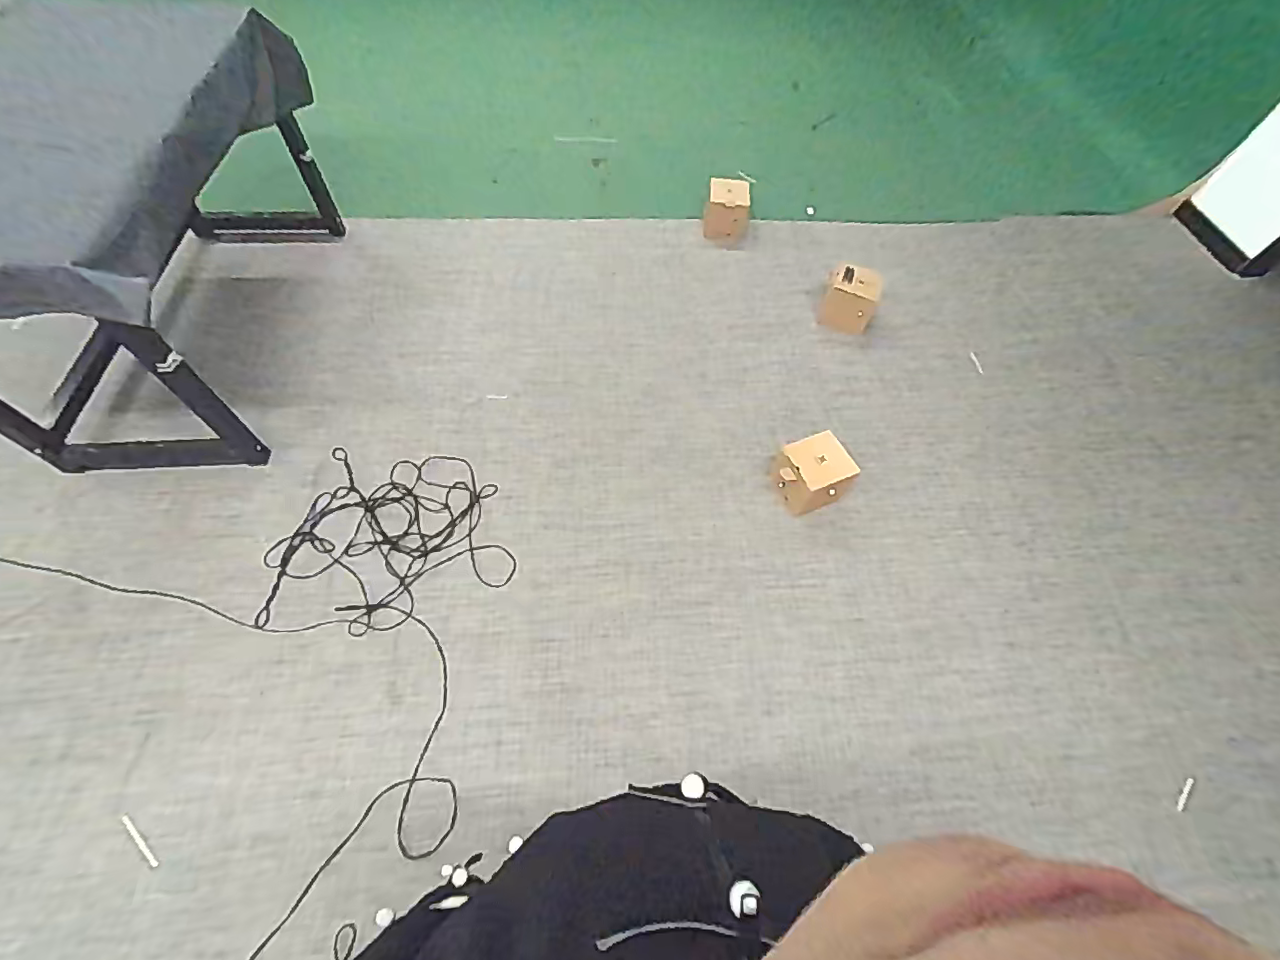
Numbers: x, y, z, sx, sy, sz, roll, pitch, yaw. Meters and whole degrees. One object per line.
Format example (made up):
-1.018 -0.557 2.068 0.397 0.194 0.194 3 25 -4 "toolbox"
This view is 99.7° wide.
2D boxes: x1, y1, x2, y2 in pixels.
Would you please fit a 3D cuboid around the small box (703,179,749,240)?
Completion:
0.368 -1.158 2.322 0.168 0.176 0.179 5 58 -2 "small box"

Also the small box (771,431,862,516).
0.527 -0.017 1.641 0.179 0.176 0.168 -20 62 -14 "small box"
